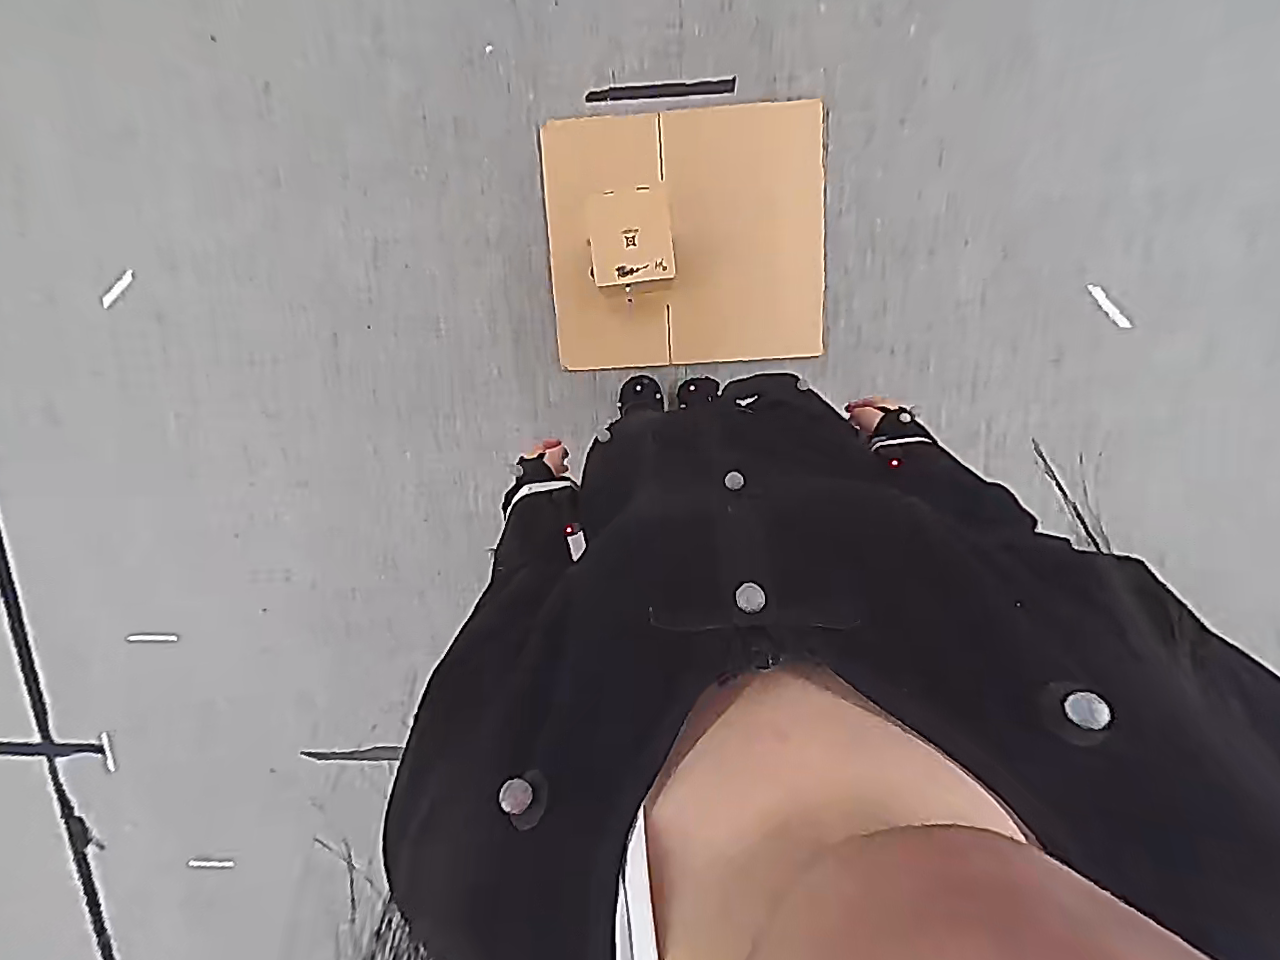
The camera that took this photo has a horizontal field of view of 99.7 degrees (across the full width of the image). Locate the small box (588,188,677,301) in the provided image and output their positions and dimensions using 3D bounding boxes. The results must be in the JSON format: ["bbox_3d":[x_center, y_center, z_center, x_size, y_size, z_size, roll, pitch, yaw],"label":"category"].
[{"bbox_3d":[-0.014,-0.491,1.151,0.168,0.176,0.179,-6,100,3],"label":"small box"}]

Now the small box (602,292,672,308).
[{"bbox_3d":[-0.008,-0.519,1.313,0.168,0.176,0.179,-5,101,3],"label":"small box"}]
